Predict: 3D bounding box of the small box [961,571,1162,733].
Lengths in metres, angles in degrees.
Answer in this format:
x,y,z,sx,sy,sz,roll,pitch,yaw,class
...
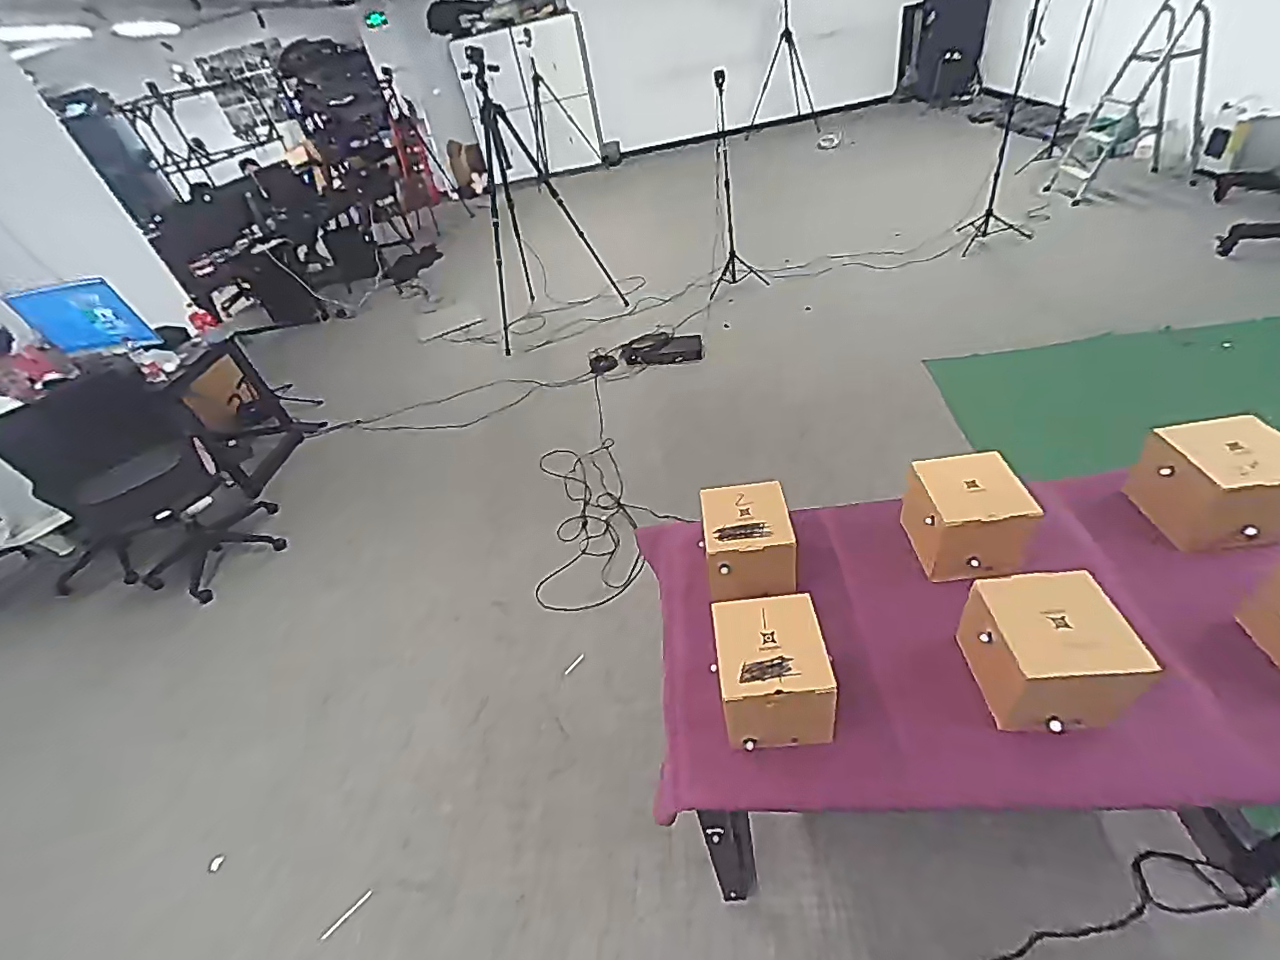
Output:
x,y,z,sx,sy,sz,roll,pitch,yaw,class
0.624,0.265,0.834,0.168,0.176,0.179,-6,40,9,small box

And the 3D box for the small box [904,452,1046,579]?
x,y,z,sx,sy,sz,roll,pitch,yaw,class
0.637,0.070,1.059,0.168,0.176,0.179,-7,42,7,small box

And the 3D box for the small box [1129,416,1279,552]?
x,y,z,sx,sy,sz,roll,pitch,yaw,class
1.071,0.009,1.002,0.168,0.176,0.179,-9,41,10,small box

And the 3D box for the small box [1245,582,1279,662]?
x,y,z,sx,sy,sz,roll,pitch,yaw,class
1.046,0.220,0.766,0.168,0.176,0.179,-6,38,11,small box

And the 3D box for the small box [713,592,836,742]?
x,y,z,sx,sy,sz,roll,pitch,yaw,class
0.216,0.311,0.887,0.168,0.176,0.179,-7,39,6,small box
